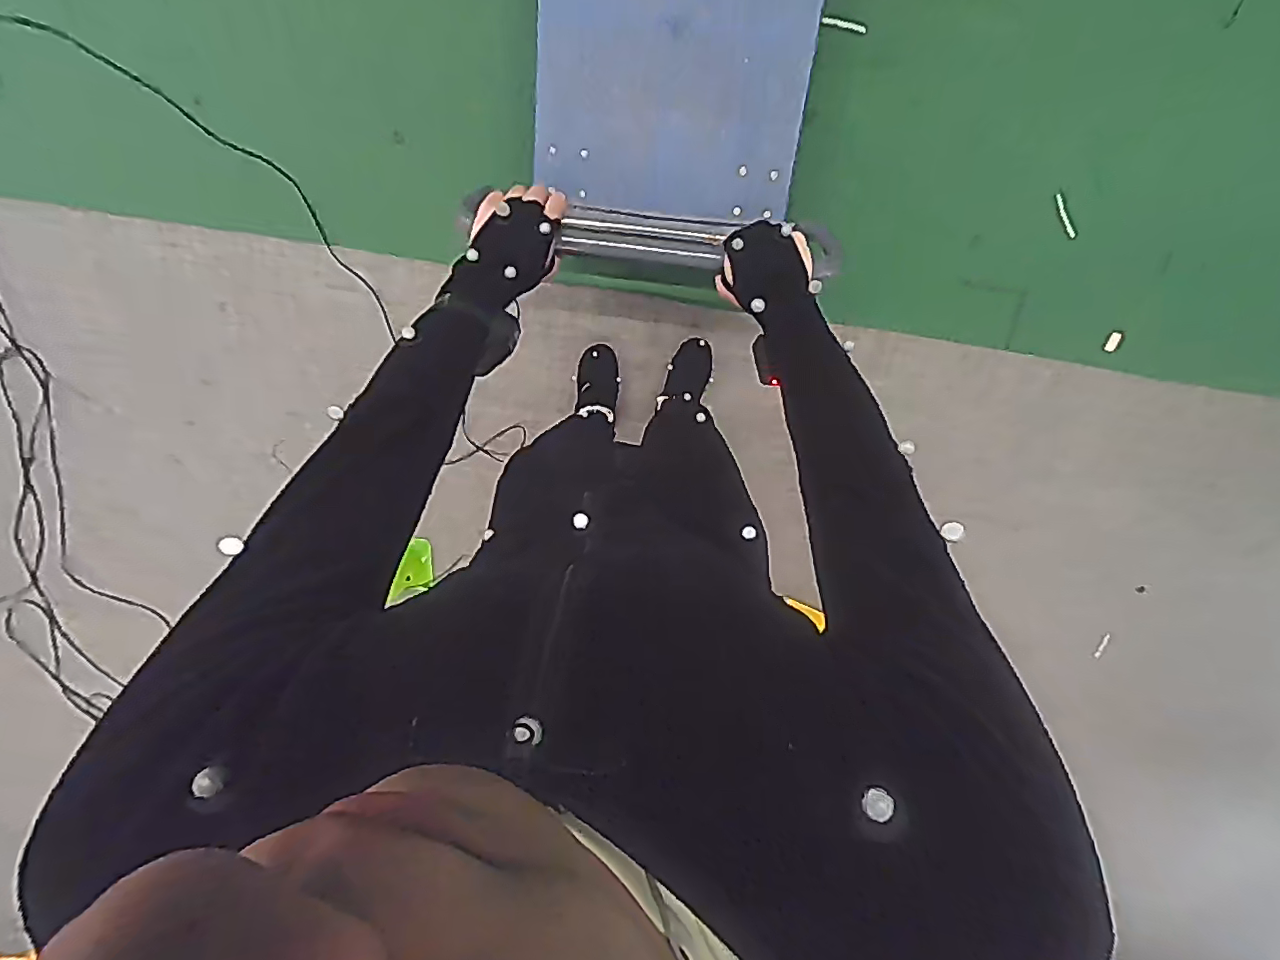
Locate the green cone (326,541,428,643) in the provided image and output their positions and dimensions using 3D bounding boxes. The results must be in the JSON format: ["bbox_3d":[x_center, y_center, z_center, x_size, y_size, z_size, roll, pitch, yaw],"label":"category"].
[{"bbox_3d":[-0.813,0.357,1.624,0.202,0.368,0.200,6,111,2],"label":"green cone"}]
